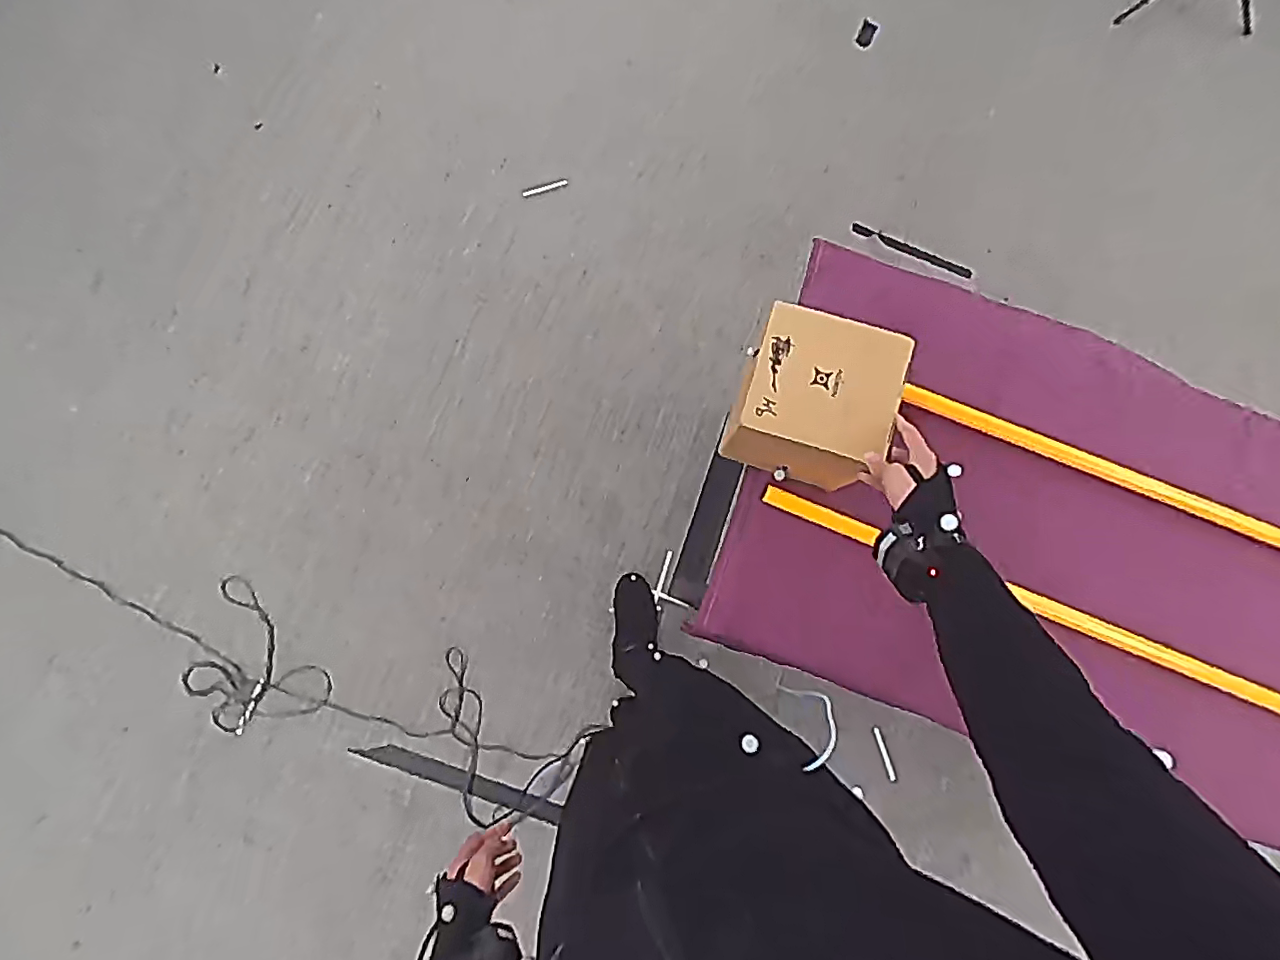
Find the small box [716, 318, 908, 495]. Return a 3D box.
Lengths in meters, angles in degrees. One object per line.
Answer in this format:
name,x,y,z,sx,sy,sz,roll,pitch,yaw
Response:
small box,0.215,-0.084,0.719,0.179,0.176,0.168,18,81,2
